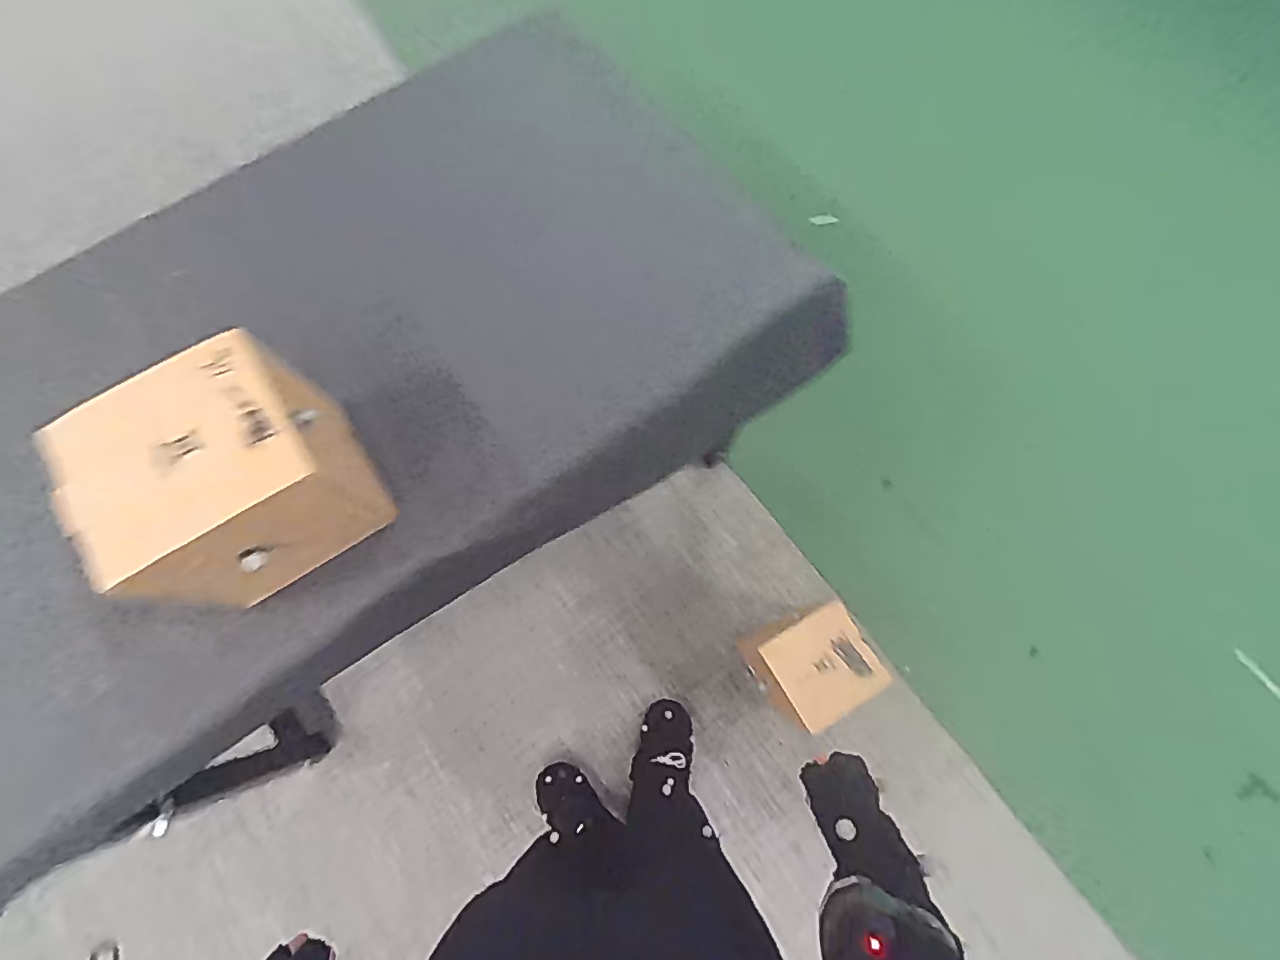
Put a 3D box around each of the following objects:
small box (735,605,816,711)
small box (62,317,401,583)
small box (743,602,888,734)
[{"bbox_3d":[0.326,0.387,1.175,0.179,0.176,0.168,-27,75,-6],"label":"small box"},{"bbox_3d":[-0.374,-0.015,0.527,0.179,0.176,0.168,-31,76,-8],"label":"small box"},{"bbox_3d":[0.316,0.345,1.016,0.179,0.176,0.168,-27,75,-7],"label":"small box"}]
